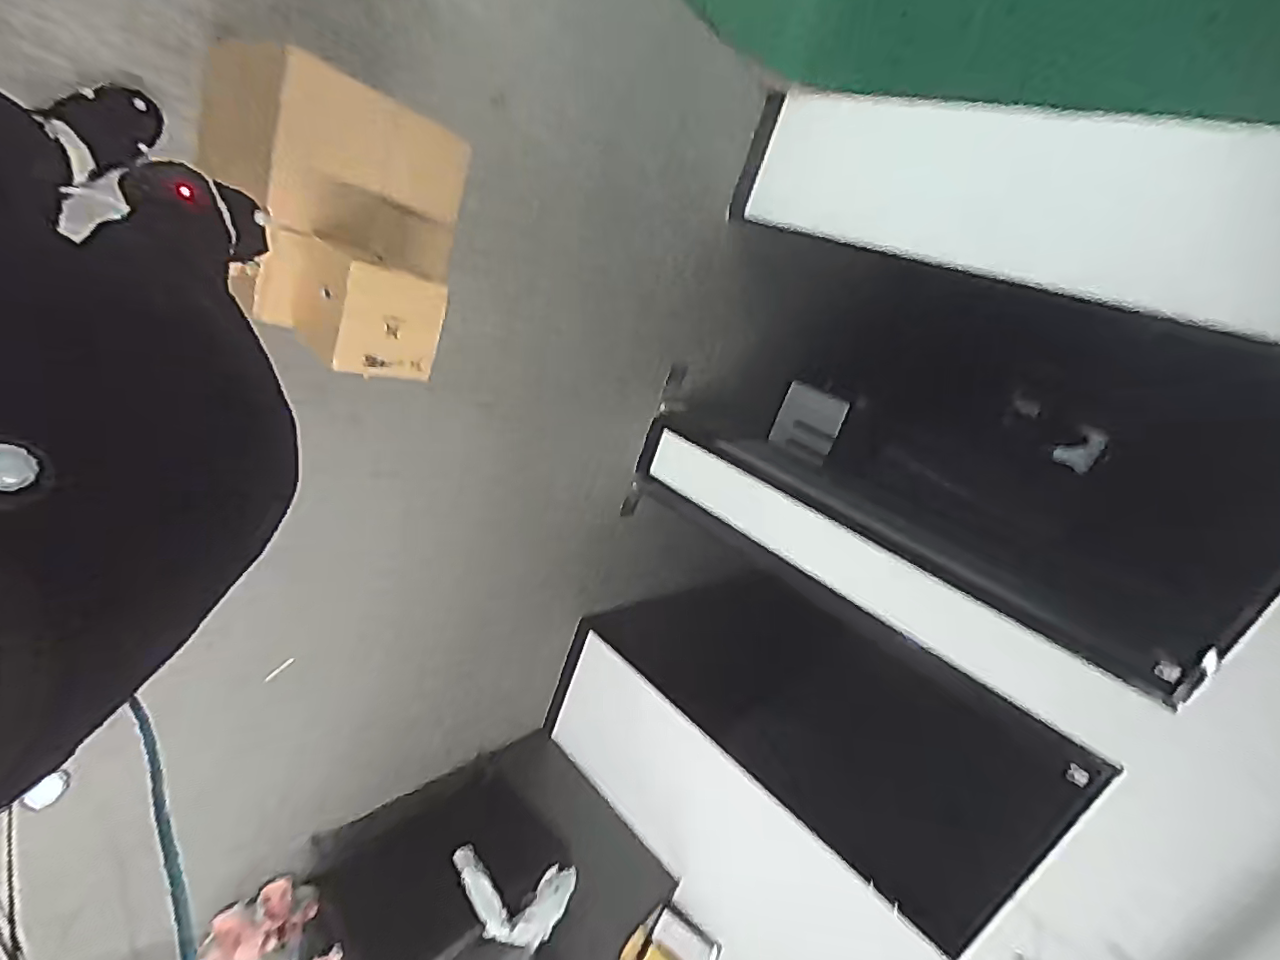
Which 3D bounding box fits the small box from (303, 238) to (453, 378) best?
[{"bbox_3d":[-0.453,-0.294,0.929,0.168,0.176,0.179,-2,119,-51],"label":"small box"}]
